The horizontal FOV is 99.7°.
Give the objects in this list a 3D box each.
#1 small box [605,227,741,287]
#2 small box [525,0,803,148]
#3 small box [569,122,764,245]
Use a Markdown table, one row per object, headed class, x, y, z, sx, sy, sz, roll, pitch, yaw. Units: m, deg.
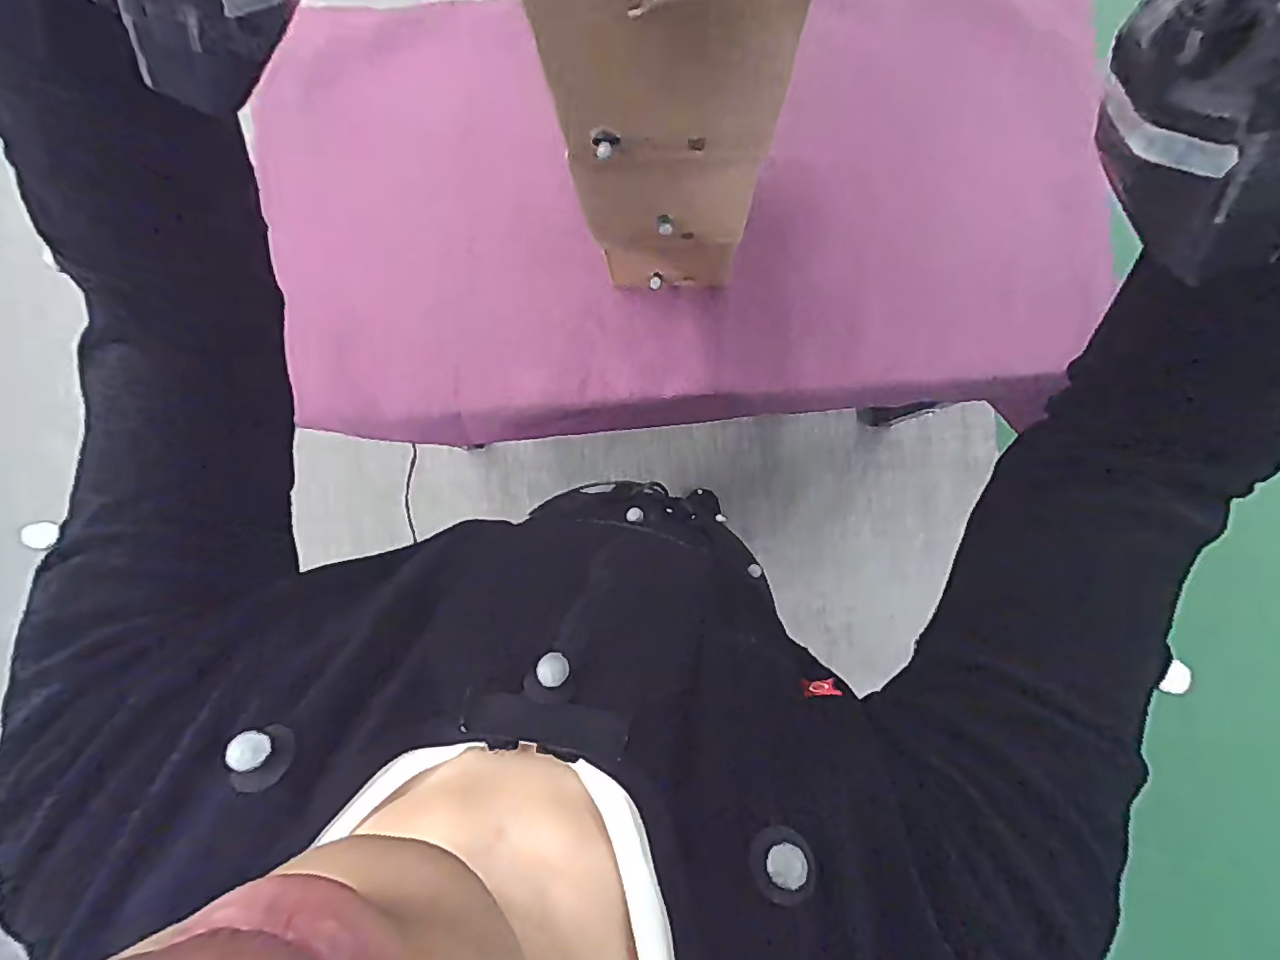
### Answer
| class | x | y | z | sx | sy | sz | roll | pitch | yaw |
| --- | --- | --- | --- | --- | --- | --- | --- | --- | --- |
| small box | 0.038 | -0.368 | 0.696 | 0.168 | 0.176 | 0.179 | 0 | 88 | 4 |
| small box | 0.020 | -0.355 | 0.368 | 0.168 | 0.176 | 0.179 | -1 | 87 | 3 |
| small box | 0.025 | -0.358 | 0.533 | 0.168 | 0.176 | 0.179 | -1 | 88 | 4 |
